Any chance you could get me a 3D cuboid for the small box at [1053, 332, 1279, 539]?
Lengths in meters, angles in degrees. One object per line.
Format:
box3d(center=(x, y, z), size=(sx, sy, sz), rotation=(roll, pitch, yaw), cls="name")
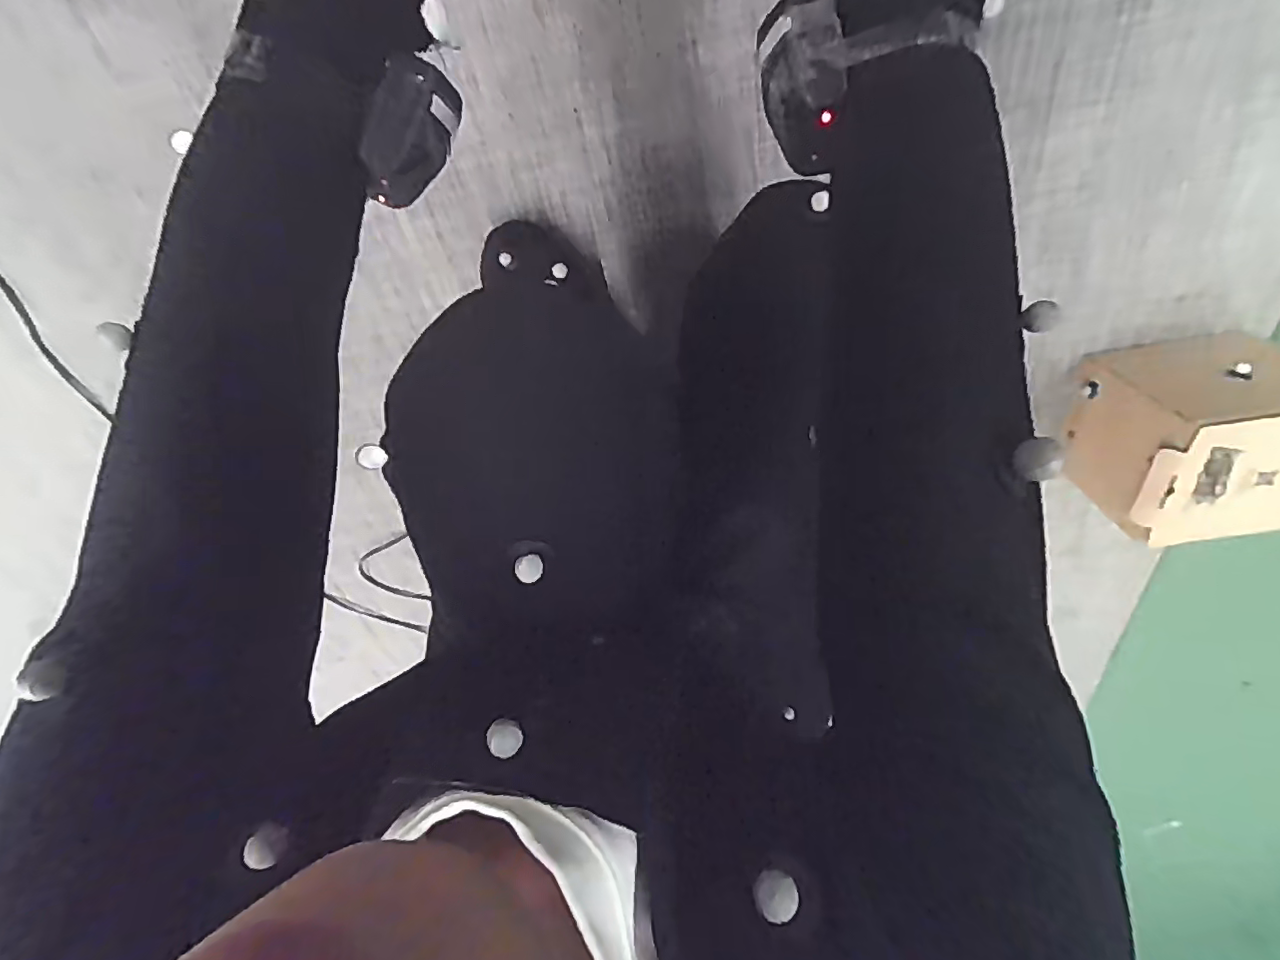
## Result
box3d(center=(0.634, -0.055, 0.630), size=(0.179, 0.176, 0.168), rotation=(-8, 127, 7), cls="small box")
